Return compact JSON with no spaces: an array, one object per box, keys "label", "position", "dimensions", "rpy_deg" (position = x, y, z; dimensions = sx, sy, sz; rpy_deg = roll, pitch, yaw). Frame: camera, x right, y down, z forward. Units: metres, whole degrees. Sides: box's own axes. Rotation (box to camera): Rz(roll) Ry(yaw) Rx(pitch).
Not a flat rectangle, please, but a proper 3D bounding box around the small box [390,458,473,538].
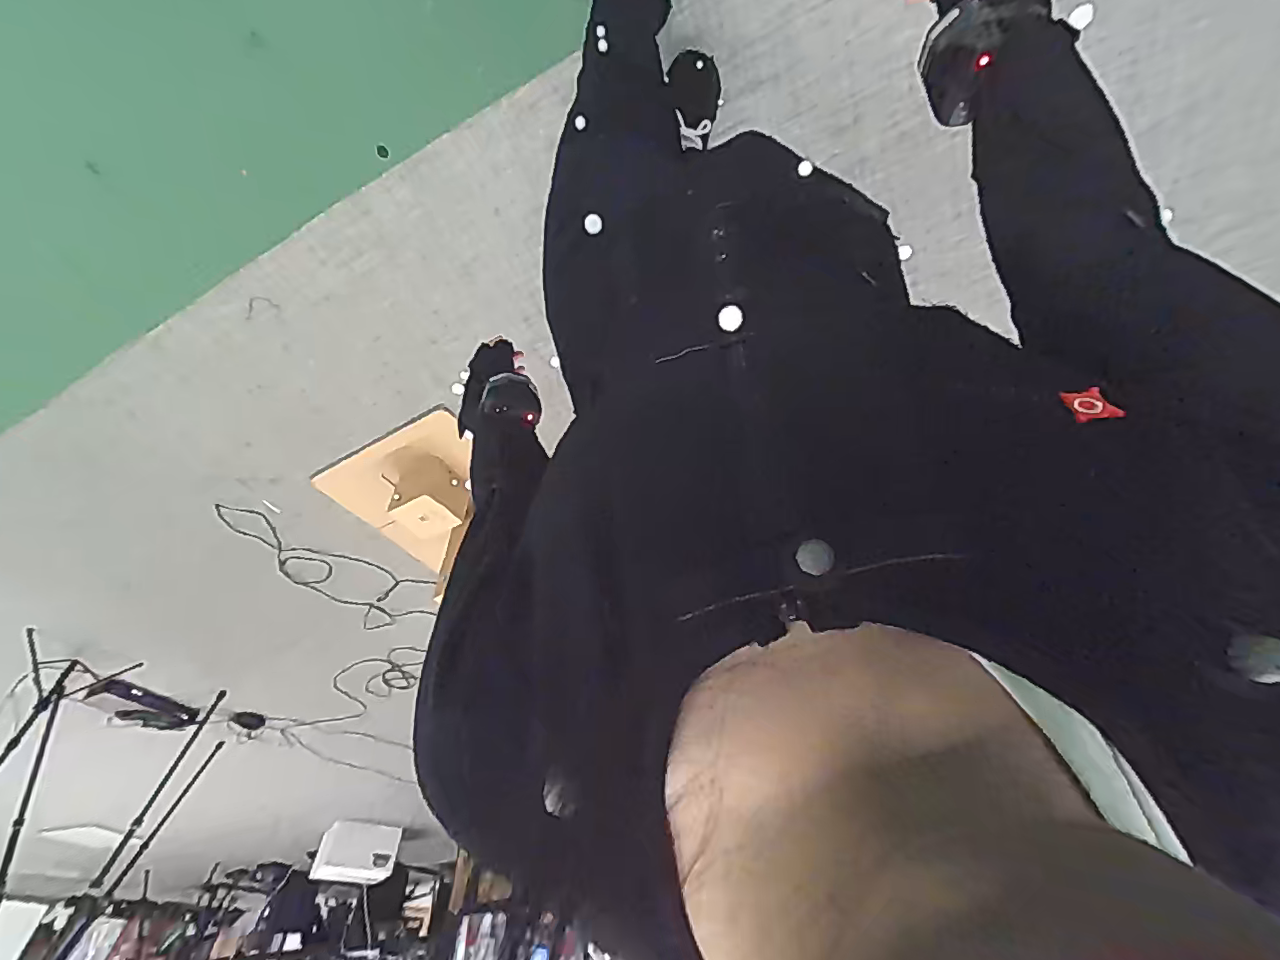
[{"label":"small box","position":[-0.676,0.058,1.778],"dimensions":[0.179,0.176,0.168],"rpy_deg":[-23,132,19]}]
